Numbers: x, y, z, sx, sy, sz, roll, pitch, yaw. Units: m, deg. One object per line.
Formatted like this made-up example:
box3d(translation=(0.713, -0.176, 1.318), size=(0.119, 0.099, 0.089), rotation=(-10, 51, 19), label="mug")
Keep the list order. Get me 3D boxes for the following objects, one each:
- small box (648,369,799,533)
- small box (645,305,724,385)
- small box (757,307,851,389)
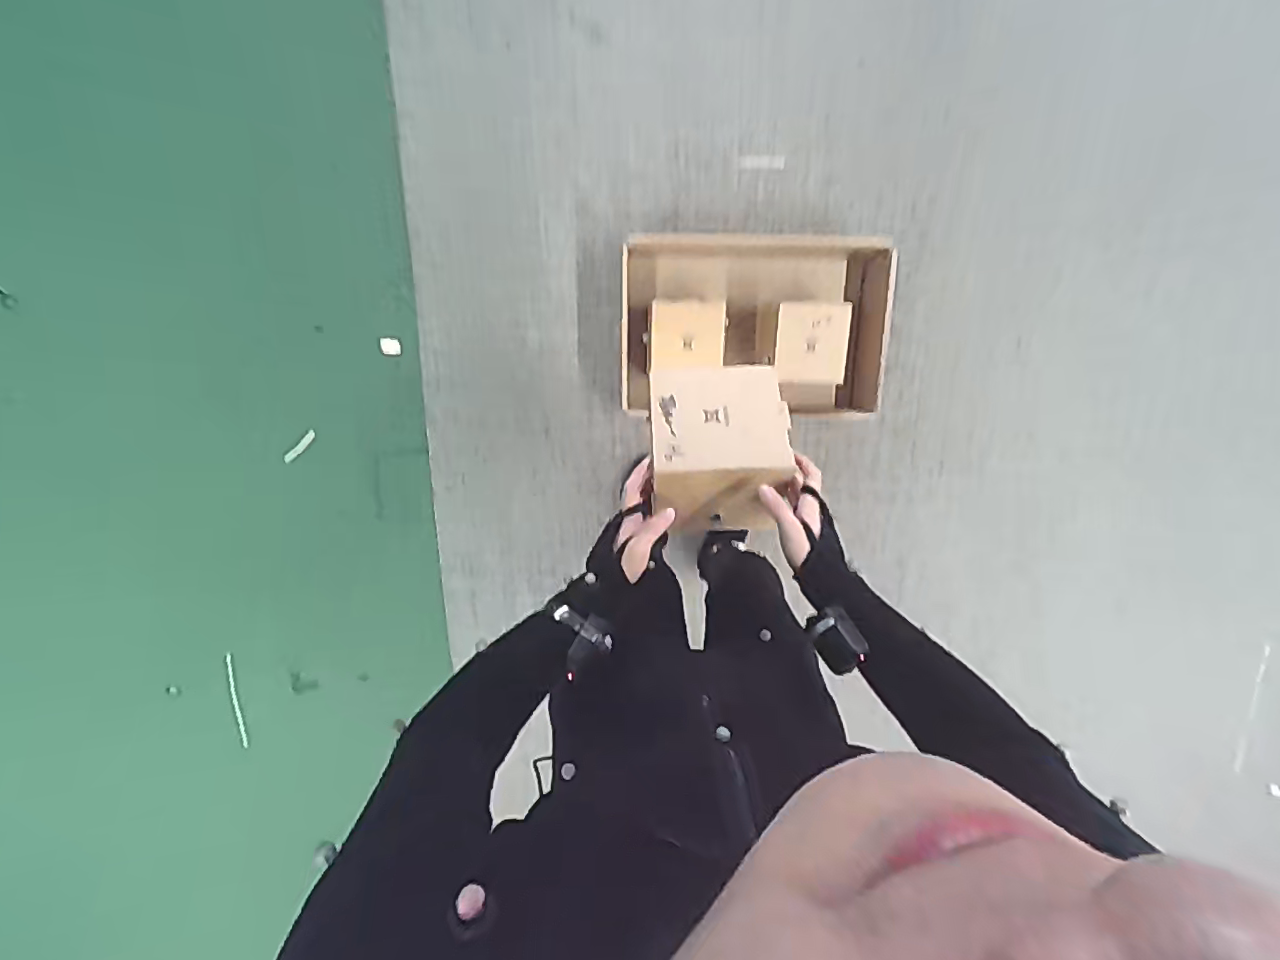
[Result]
box3d(translation=(0.101, -0.035, 0.746), size=(0.179, 0.176, 0.168), rotation=(-1, 58, 0), label="small box")
box3d(translation=(0.101, -0.315, 1.285), size=(0.168, 0.176, 0.179), rotation=(0, 101, -2), label="small box")
box3d(translation=(0.382, -0.314, 1.294), size=(0.168, 0.176, 0.179), rotation=(2, 102, -2), label="small box")
